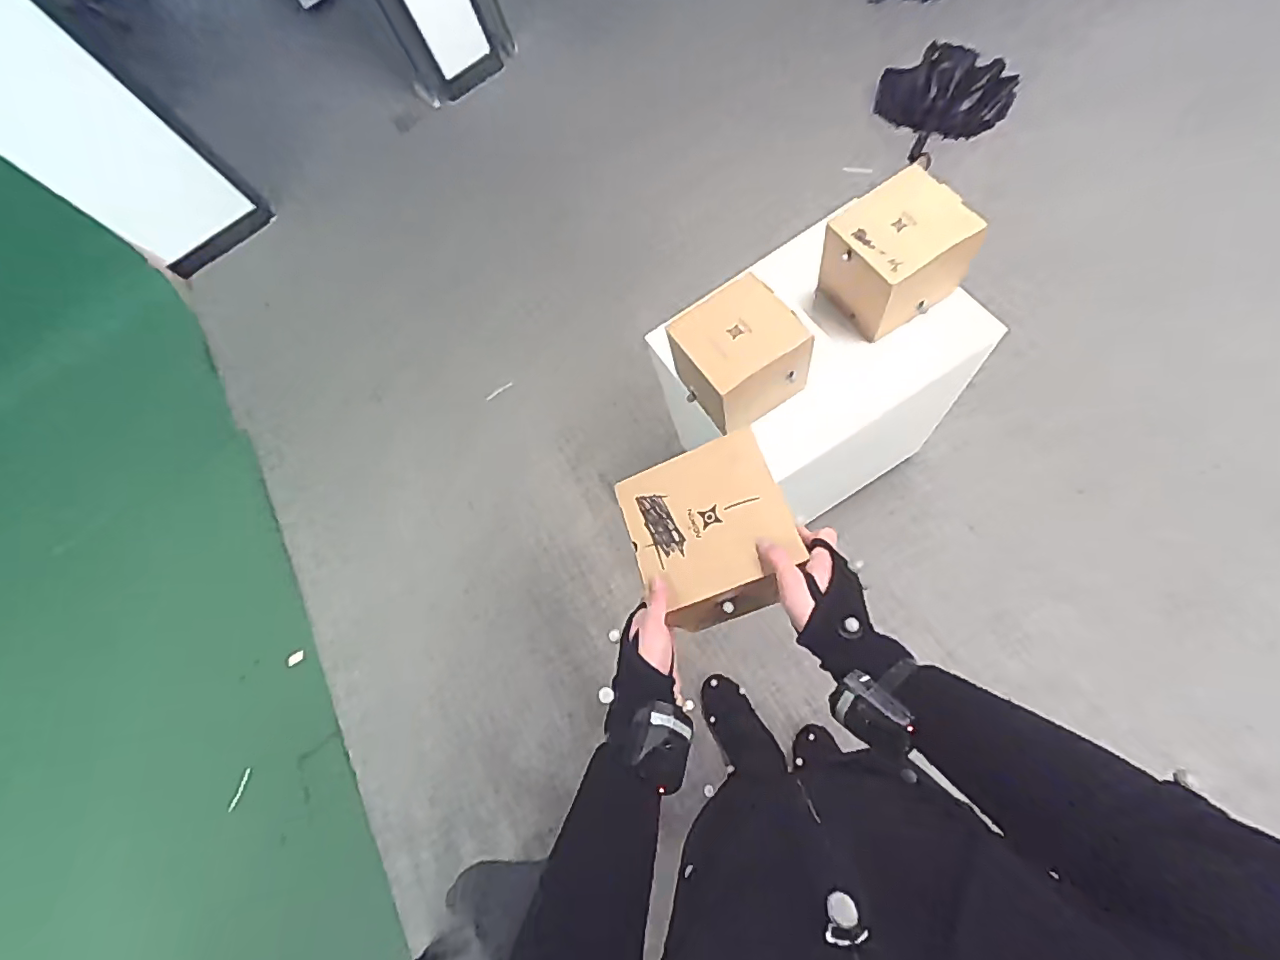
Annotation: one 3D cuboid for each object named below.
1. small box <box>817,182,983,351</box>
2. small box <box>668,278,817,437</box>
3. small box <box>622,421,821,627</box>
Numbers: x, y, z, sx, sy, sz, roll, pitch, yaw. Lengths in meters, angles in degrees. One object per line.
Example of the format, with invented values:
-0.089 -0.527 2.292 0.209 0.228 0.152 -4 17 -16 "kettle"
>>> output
0.433 -0.362 0.937 0.179 0.176 0.168 -31 68 -3 "small box"
0.168 -0.196 0.918 0.179 0.176 0.168 -34 66 -4 "small box"
0.102 0.064 0.640 0.179 0.176 0.168 -21 63 9 "small box"
